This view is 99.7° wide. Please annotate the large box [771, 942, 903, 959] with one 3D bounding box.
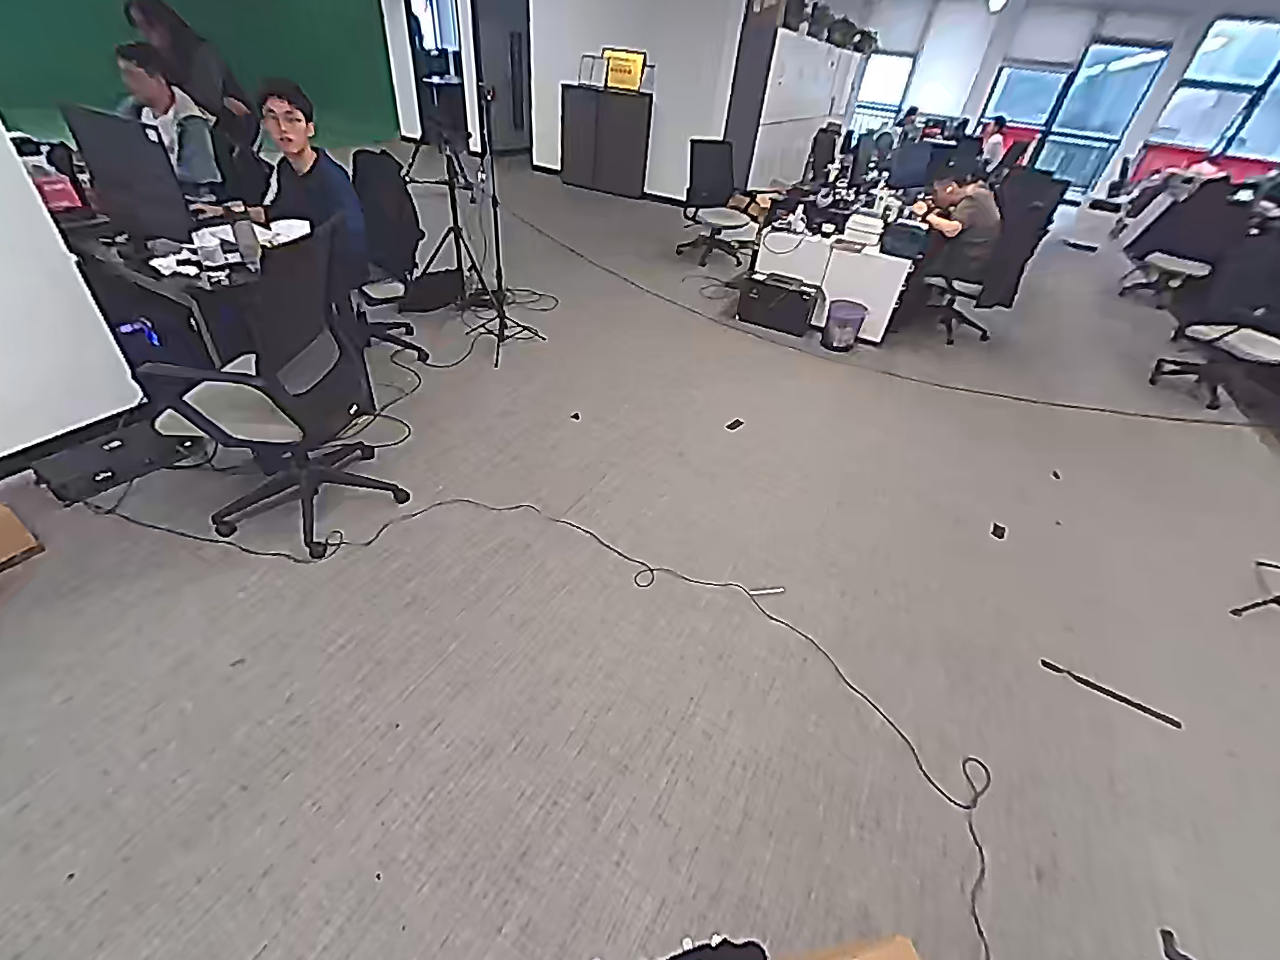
[{"bbox_3d":[0.156,0.739,0.510,0.320,0.320,0.408,-9,50,-11],"label":"large box"}]
